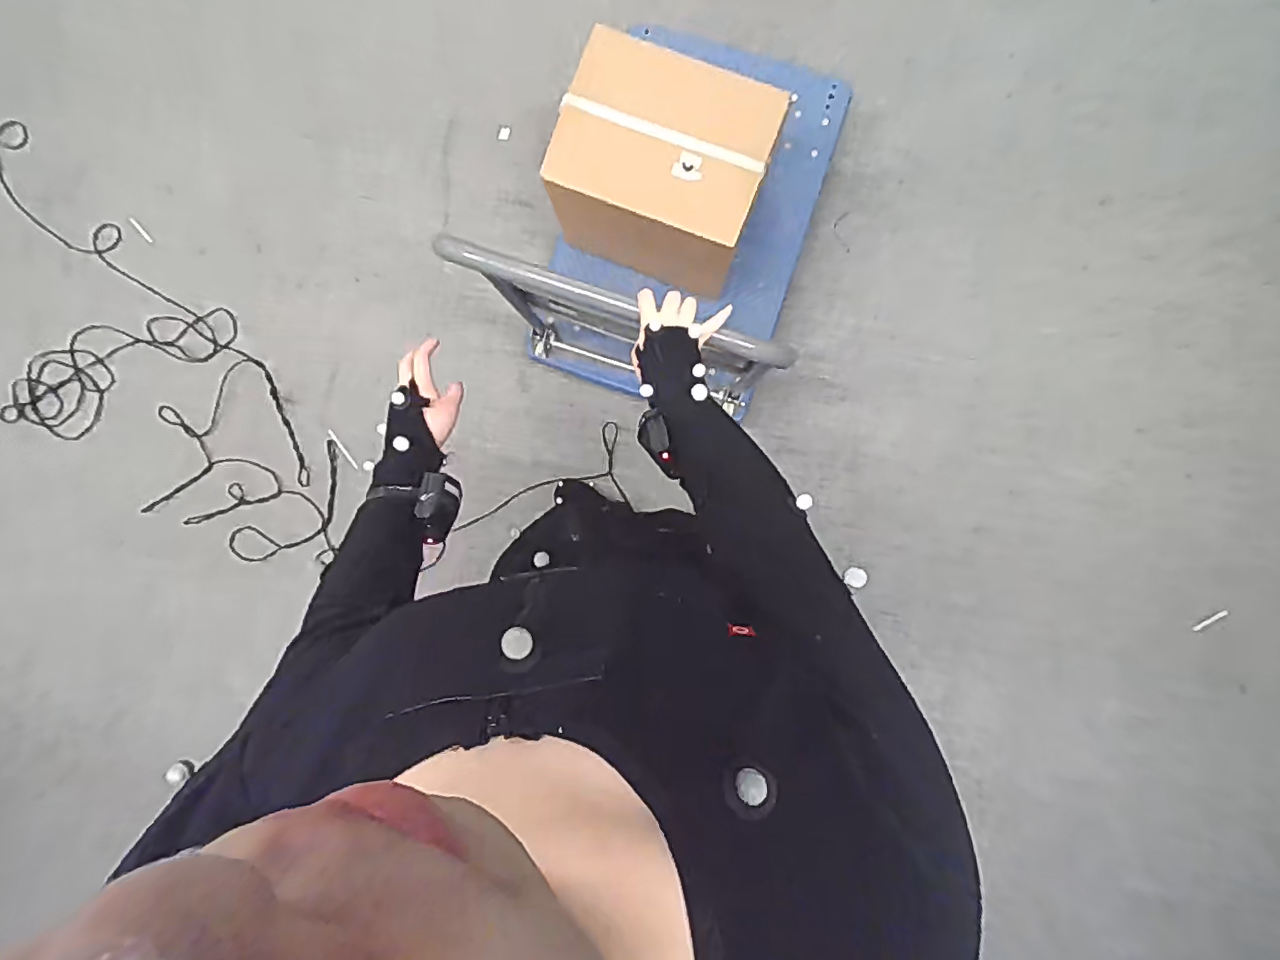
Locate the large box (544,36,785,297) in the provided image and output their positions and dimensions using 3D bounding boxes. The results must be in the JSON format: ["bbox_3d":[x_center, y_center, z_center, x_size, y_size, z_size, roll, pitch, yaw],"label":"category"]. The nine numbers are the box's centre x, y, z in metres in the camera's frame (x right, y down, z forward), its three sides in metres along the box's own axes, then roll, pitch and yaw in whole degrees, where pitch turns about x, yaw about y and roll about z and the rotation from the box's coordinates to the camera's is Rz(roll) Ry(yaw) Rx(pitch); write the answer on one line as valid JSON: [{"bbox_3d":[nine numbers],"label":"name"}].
[{"bbox_3d":[0.047,-0.661,1.200,0.408,0.320,0.320,21,91,1],"label":"large box"}]
